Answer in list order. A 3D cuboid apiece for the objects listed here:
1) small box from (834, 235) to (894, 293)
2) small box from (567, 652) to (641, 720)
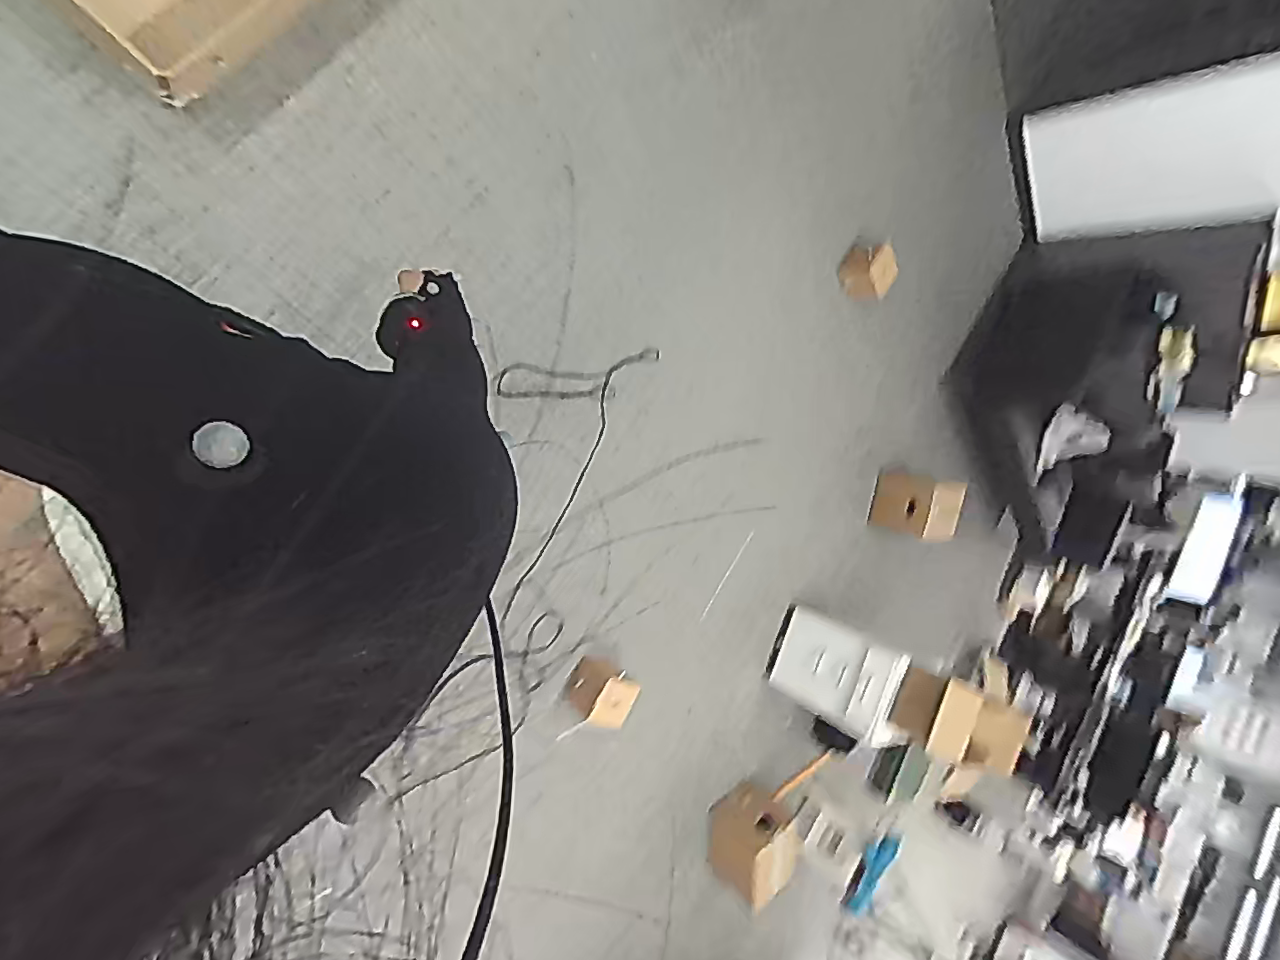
[{"bbox_3d":[1.003,-0.966,2.427,0.168,0.176,0.179,43,75,-38],"label":"small box"},{"bbox_3d":[-0.134,0.756,1.993,0.179,0.176,0.168,32,82,-40],"label":"small box"}]
